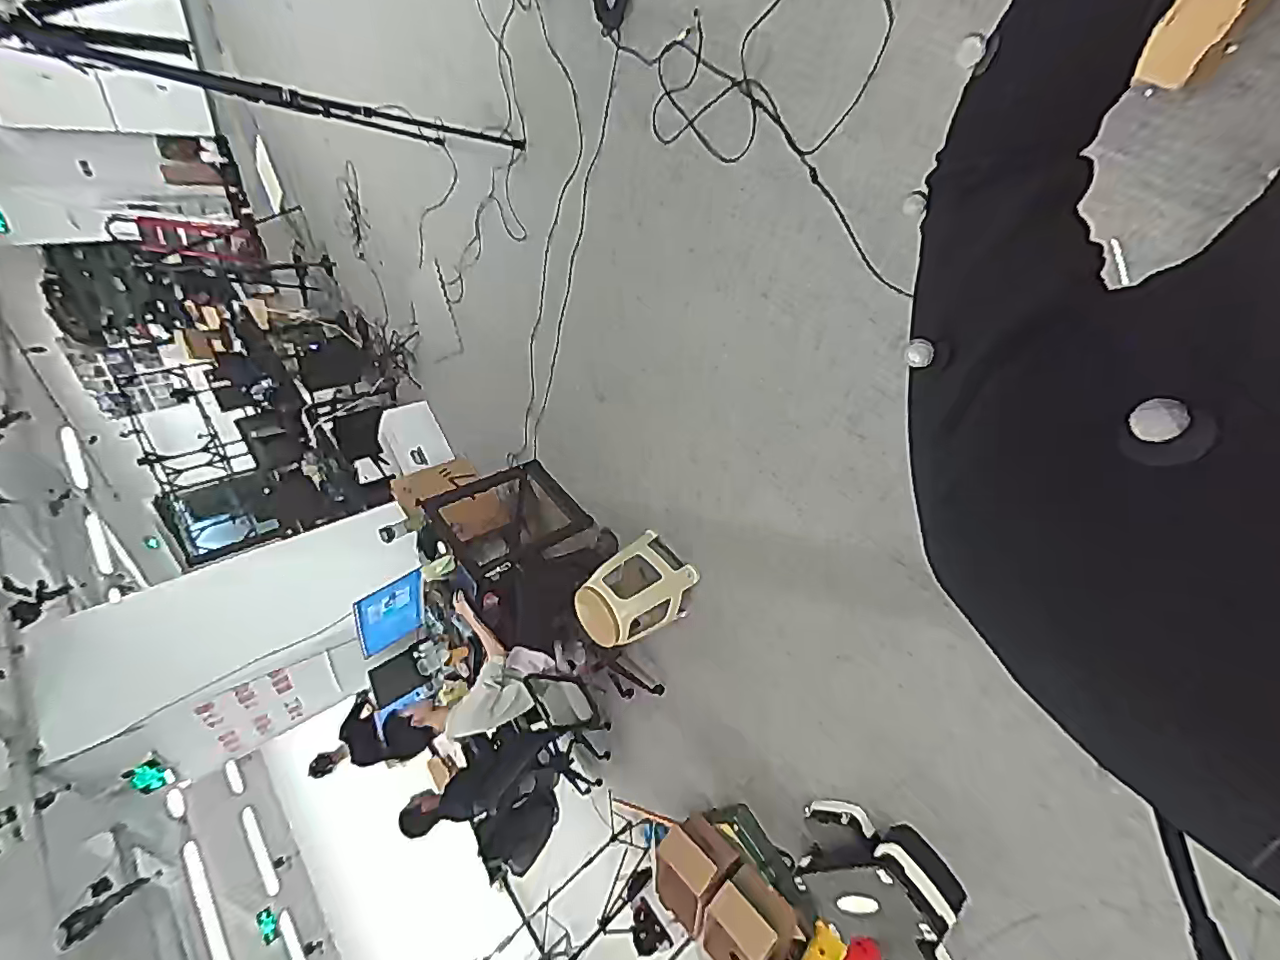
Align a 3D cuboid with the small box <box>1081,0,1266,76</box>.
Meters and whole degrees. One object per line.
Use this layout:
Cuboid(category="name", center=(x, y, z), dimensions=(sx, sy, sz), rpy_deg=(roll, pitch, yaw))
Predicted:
Cuboid(category="small box", center=(0.876, -0.774, 0.869), dimensions=(0.179, 0.176, 0.168), rpy_deg=(44, 140, 26))
